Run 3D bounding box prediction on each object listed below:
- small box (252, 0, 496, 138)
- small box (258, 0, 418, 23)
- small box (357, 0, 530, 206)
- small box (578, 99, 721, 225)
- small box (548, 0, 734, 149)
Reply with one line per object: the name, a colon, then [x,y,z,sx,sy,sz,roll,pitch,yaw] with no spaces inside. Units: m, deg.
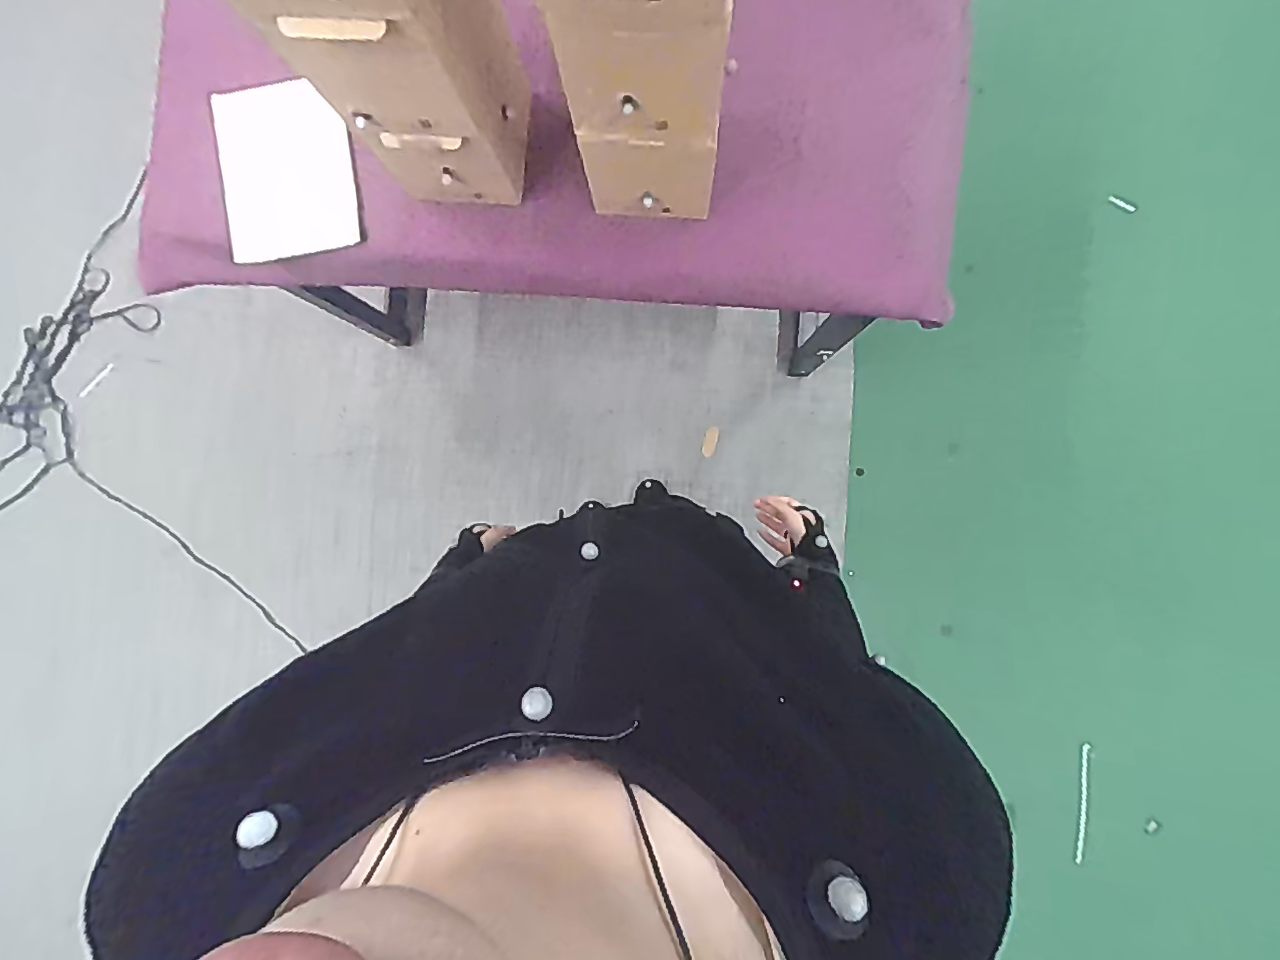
small box: [-0.262,-0.499,0.572,0.168,0.176,0.179,5,88,3]
small box: [-0.270,-0.499,0.409,0.168,0.176,0.179,6,88,2]
small box: [-0.254,-0.501,0.737,0.168,0.176,0.179,5,89,2]
small box: [0.020,-0.472,0.721,0.168,0.176,0.179,5,88,4]
small box: [0.010,-0.484,0.559,0.168,0.176,0.179,5,88,3]
